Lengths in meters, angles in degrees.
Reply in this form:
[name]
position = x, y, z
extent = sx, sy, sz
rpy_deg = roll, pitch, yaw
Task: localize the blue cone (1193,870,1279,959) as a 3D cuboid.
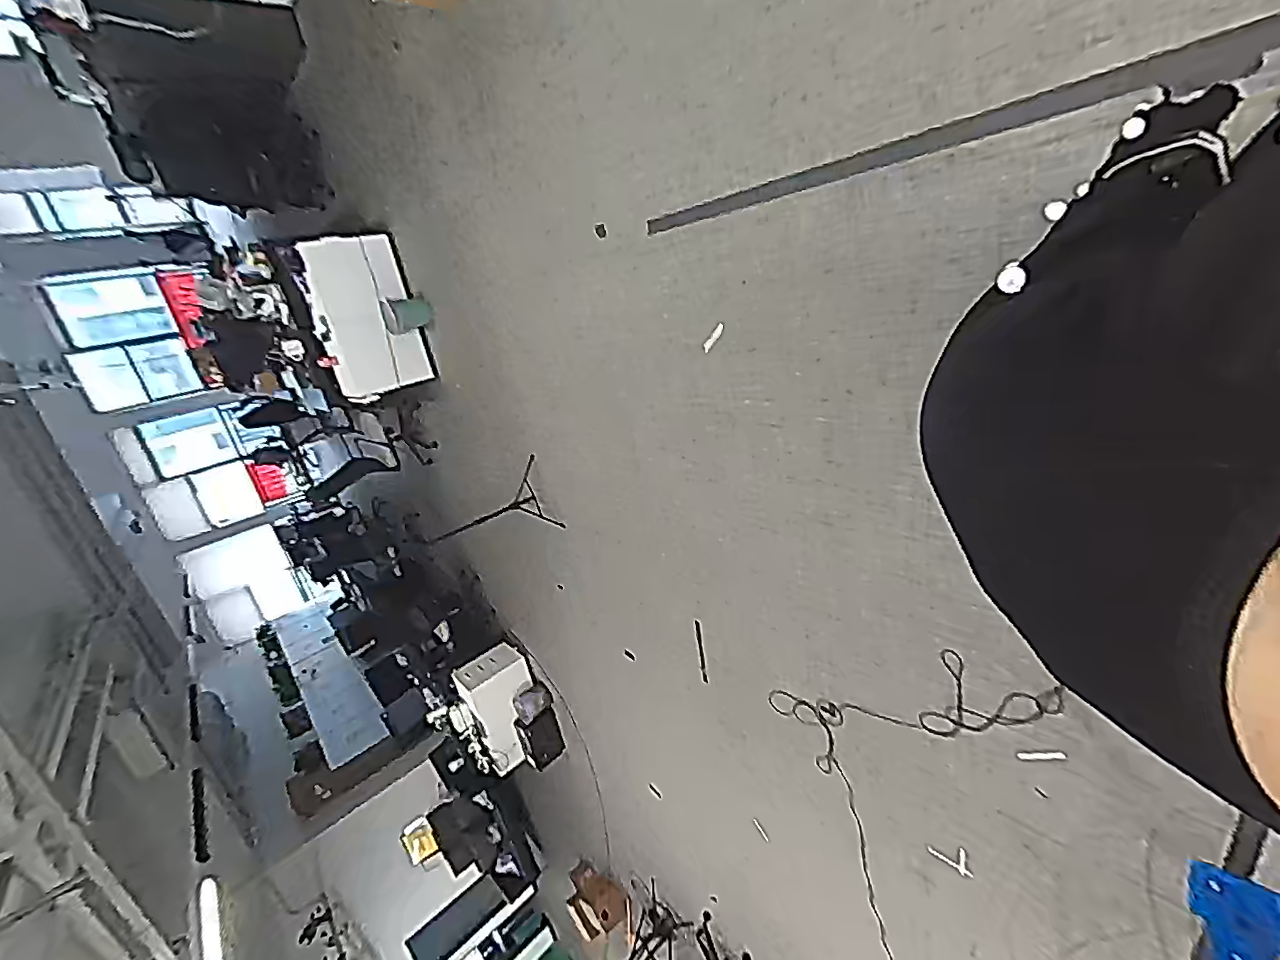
[blue cone]
position = 1.394, 1.138, 1.247
extent = 0.192, 0.380, 0.193
rpy_deg = 8, 118, 49
